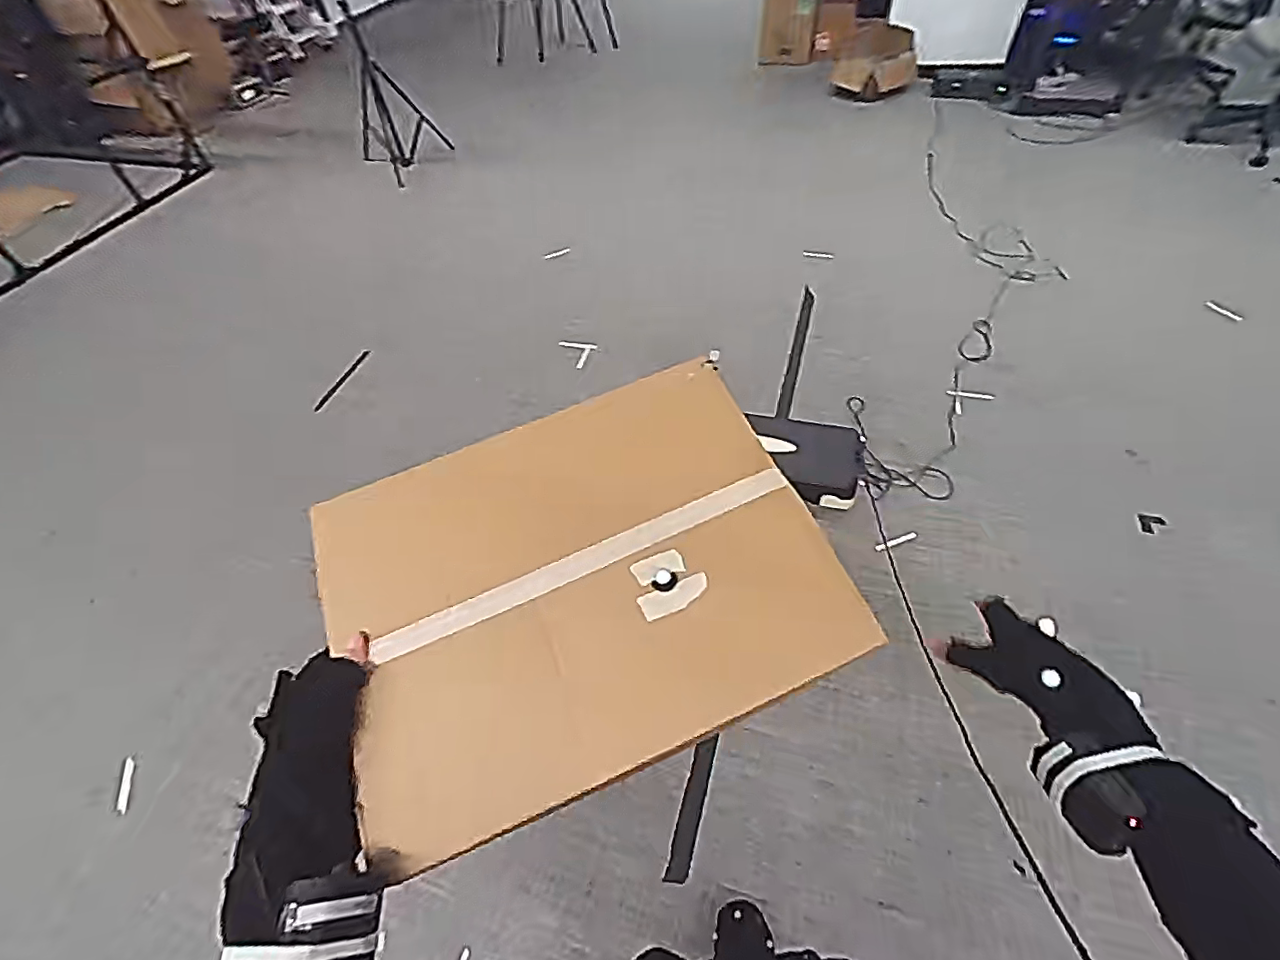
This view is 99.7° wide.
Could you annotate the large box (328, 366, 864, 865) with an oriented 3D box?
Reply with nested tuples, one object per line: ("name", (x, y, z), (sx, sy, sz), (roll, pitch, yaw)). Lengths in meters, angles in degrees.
("large box", (-0.049, 0.146, 0.603), (0.408, 0.320, 0.320), (-22, 64, -8))
